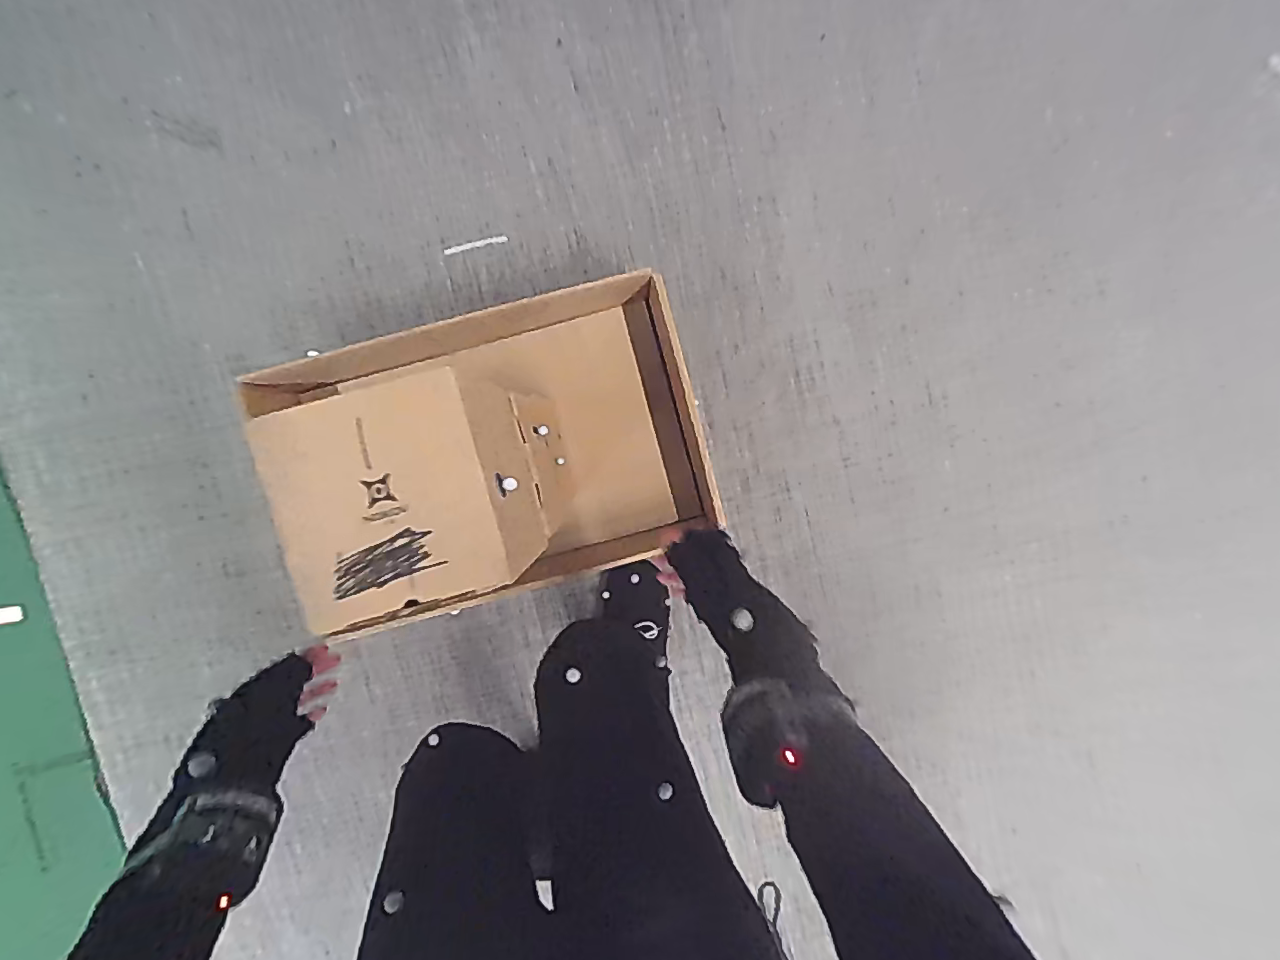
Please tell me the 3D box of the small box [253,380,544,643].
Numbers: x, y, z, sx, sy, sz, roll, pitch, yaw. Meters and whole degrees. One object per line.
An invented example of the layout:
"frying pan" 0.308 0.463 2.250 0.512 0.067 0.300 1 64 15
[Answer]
"small box" -0.197 0.021 0.498 0.168 0.176 0.179 -15 92 0

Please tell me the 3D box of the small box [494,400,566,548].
"small box" -0.195 0.012 0.647 0.179 0.176 0.168 -19 94 0
